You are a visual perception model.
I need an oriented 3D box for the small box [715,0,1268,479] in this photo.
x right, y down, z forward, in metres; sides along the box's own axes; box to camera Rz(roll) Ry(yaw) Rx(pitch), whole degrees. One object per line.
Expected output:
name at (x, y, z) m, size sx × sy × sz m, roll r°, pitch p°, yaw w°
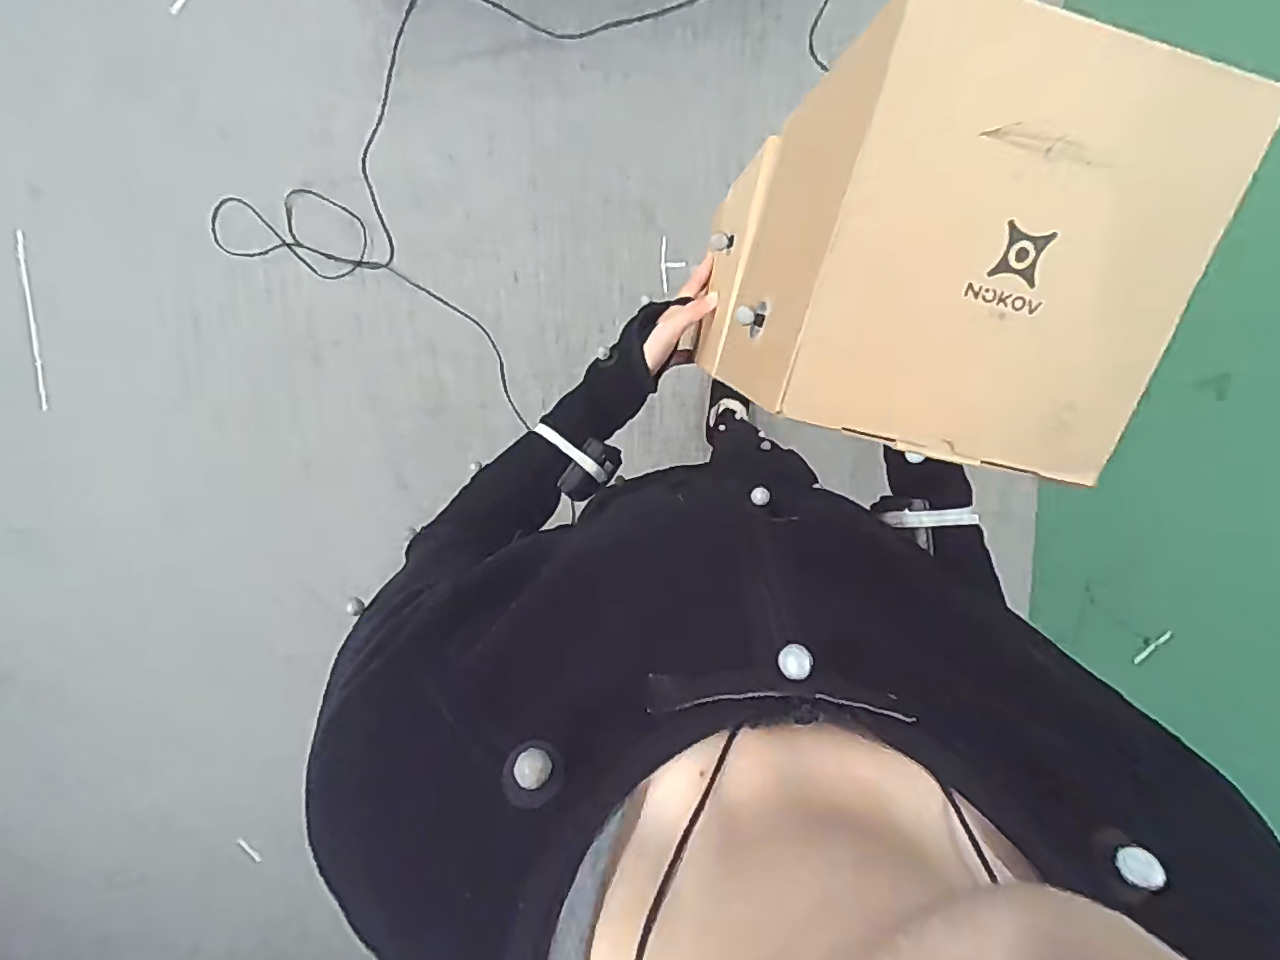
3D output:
small box at (0.149, -0.121, 0.307) m, size 0.168 × 0.176 × 0.179 m, roll 12°, pitch 106°, yaw -6°

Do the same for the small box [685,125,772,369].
small box at (0.143, -0.168, 0.463) m, size 0.179 × 0.176 × 0.168 m, roll 10°, pitch 107°, yaw -5°
